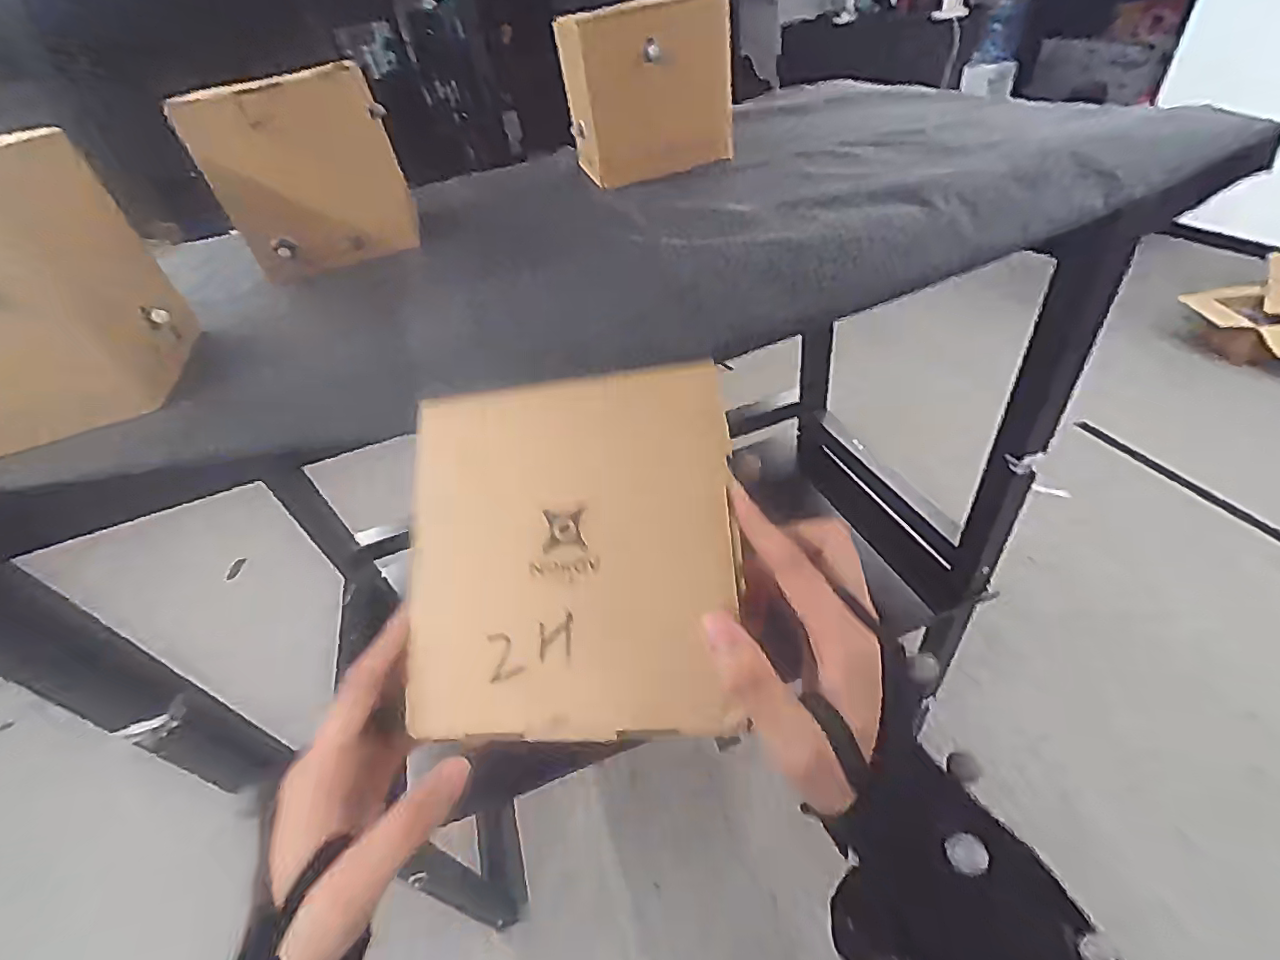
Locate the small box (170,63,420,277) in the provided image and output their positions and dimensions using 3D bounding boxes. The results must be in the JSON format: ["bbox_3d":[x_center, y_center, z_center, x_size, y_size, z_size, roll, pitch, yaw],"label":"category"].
[{"bbox_3d":[-0.364,-0.348,0.613,0.168,0.176,0.179,-19,41,-8],"label":"small box"}]

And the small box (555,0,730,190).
[{"bbox_3d":[0.006,-0.494,0.689,0.179,0.176,0.168,-18,42,-5],"label":"small box"}]
